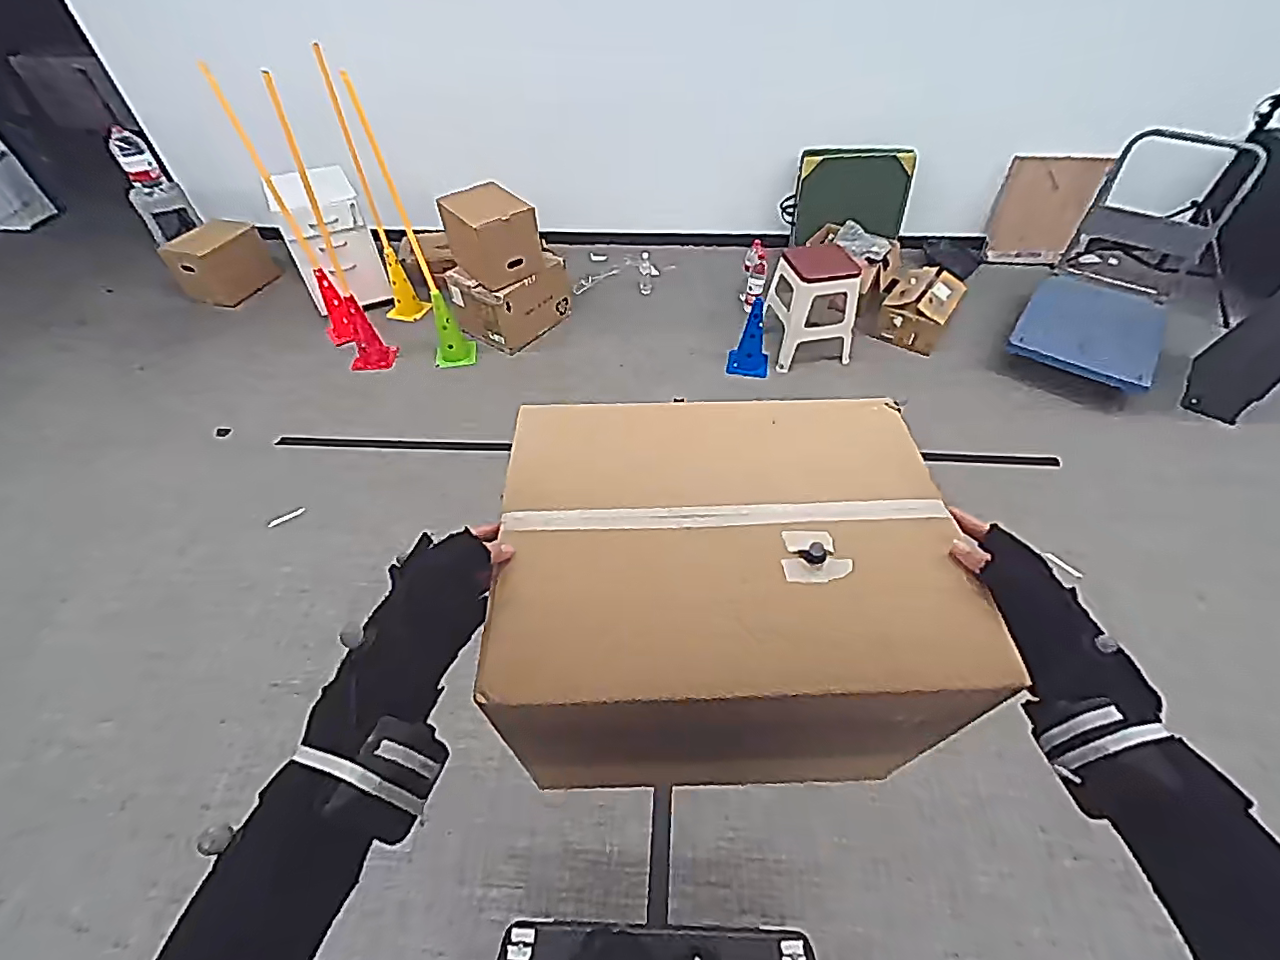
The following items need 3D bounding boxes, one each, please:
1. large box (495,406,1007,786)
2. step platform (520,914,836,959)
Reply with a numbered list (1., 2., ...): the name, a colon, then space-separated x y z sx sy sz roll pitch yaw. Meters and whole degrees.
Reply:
1. large box: 0.078 0.136 0.616 0.408 0.320 0.320 -2 51 -2
2. step platform: 0.077 1.096 1.128 0.684 0.204 0.286 1 49 1
